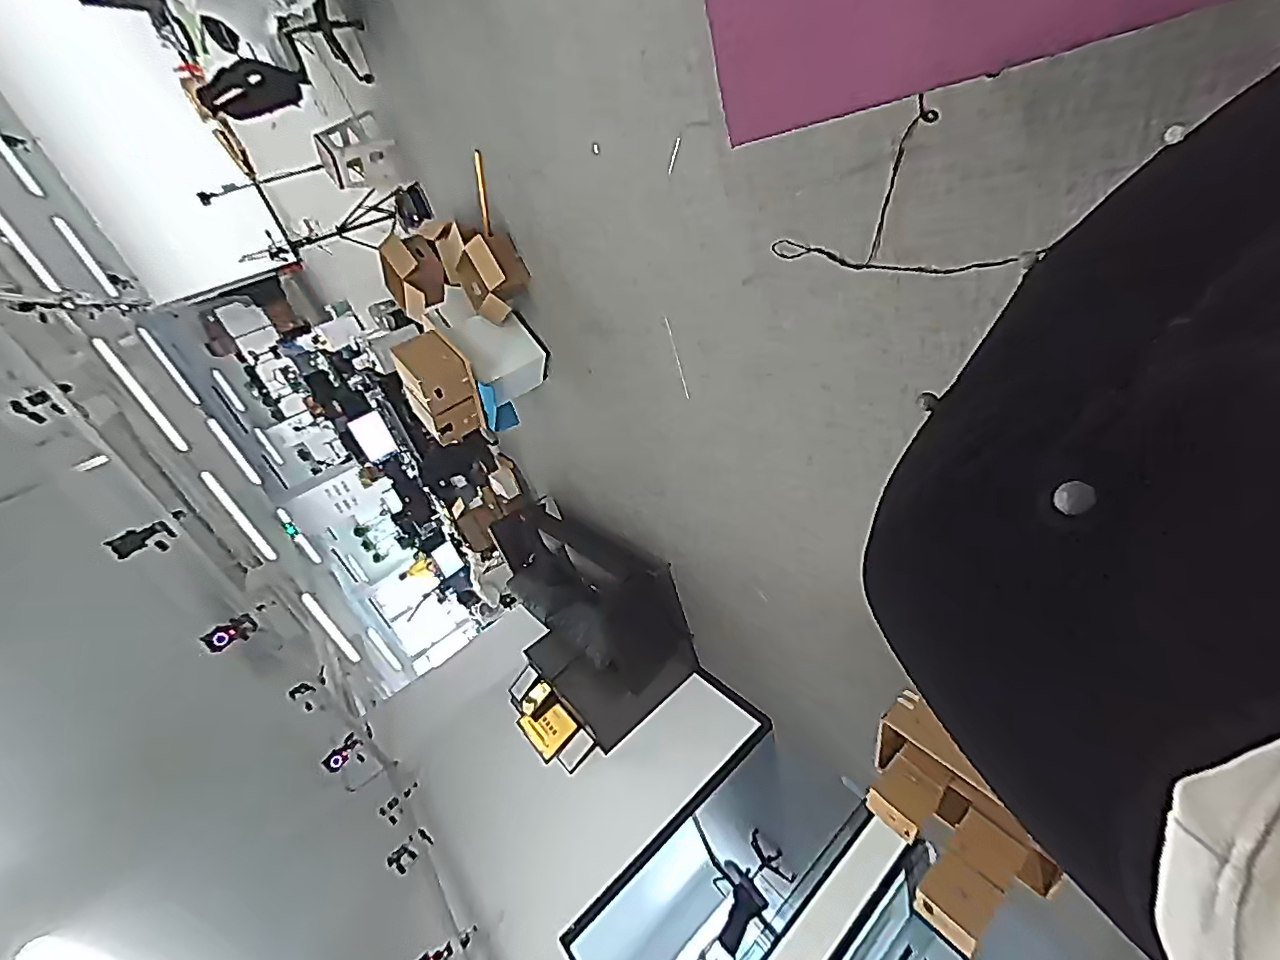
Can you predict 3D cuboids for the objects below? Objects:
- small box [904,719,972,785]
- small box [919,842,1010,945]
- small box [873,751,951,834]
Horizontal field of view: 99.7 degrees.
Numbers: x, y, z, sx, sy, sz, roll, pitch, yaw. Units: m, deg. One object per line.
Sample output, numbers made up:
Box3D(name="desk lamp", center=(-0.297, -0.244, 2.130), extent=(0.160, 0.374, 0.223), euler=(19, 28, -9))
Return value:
Box3D(name="small box", center=(1.095, 1.027, 2.004), extent=(0.168, 0.176, 0.179), euler=(35, 148, 41))
Box3D(name="small box", center=(1.001, 1.267, 1.675), extent=(0.179, 0.176, 0.168), euler=(30, 145, 46))
Box3D(name="small box", center=(0.971, 1.109, 1.937), extent=(0.179, 0.176, 0.168), euler=(35, 148, 42))
